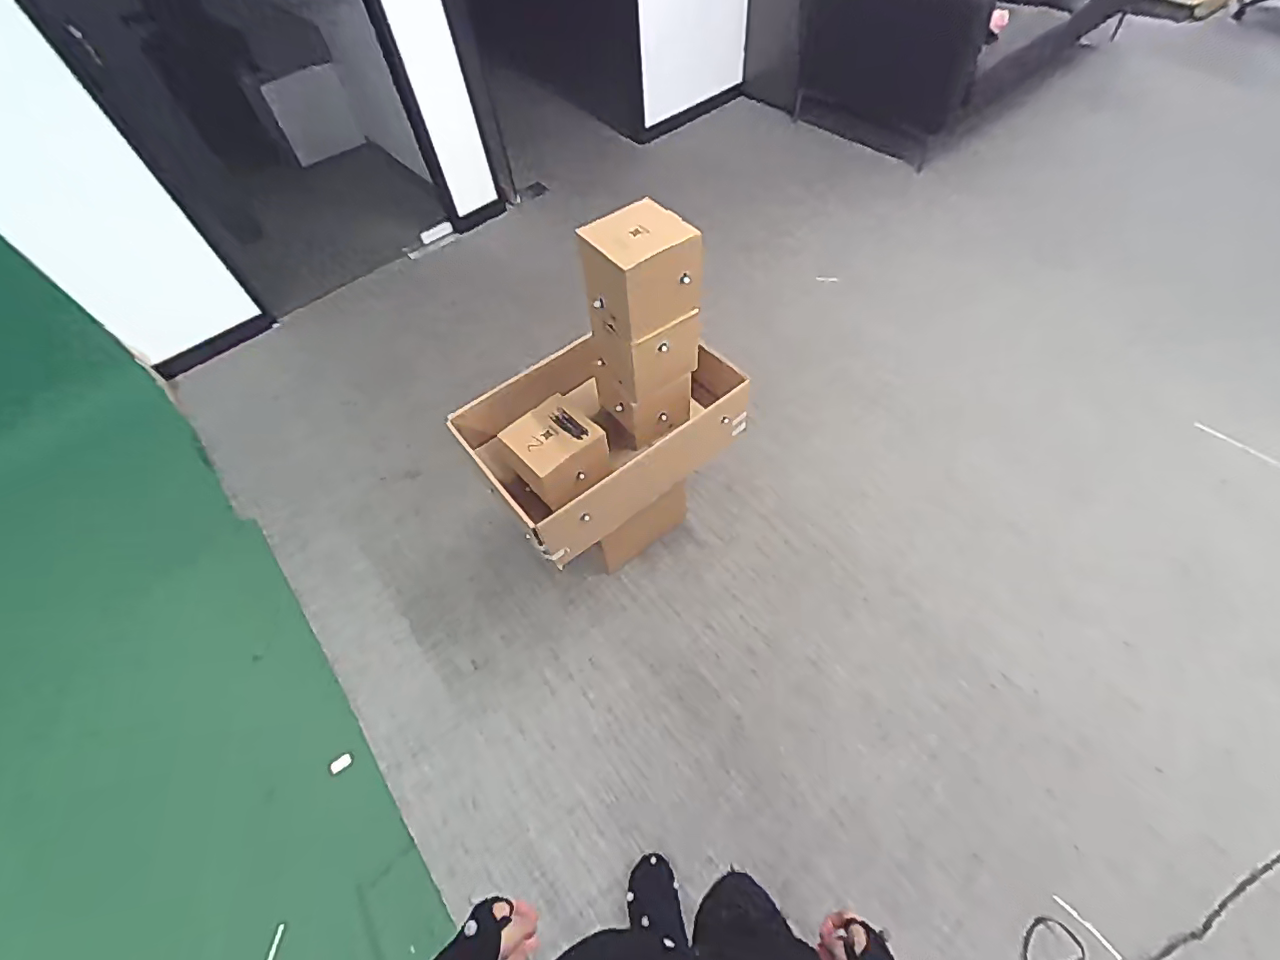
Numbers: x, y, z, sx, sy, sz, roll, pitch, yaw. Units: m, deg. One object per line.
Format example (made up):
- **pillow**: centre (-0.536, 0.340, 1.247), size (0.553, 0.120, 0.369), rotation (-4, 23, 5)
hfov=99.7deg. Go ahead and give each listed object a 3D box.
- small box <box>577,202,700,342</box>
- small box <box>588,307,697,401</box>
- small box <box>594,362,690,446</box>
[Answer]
- **small box**: centre (-0.001, -0.408, 1.068), size (0.179, 0.176, 0.168), rotation (-33, 59, -17)
- **small box**: centre (0.011, -0.307, 1.196), size (0.179, 0.176, 0.168), rotation (-32, 59, -17)
- **small box**: centre (0.009, -0.208, 1.327), size (0.168, 0.176, 0.179), rotation (-31, 58, -16)
